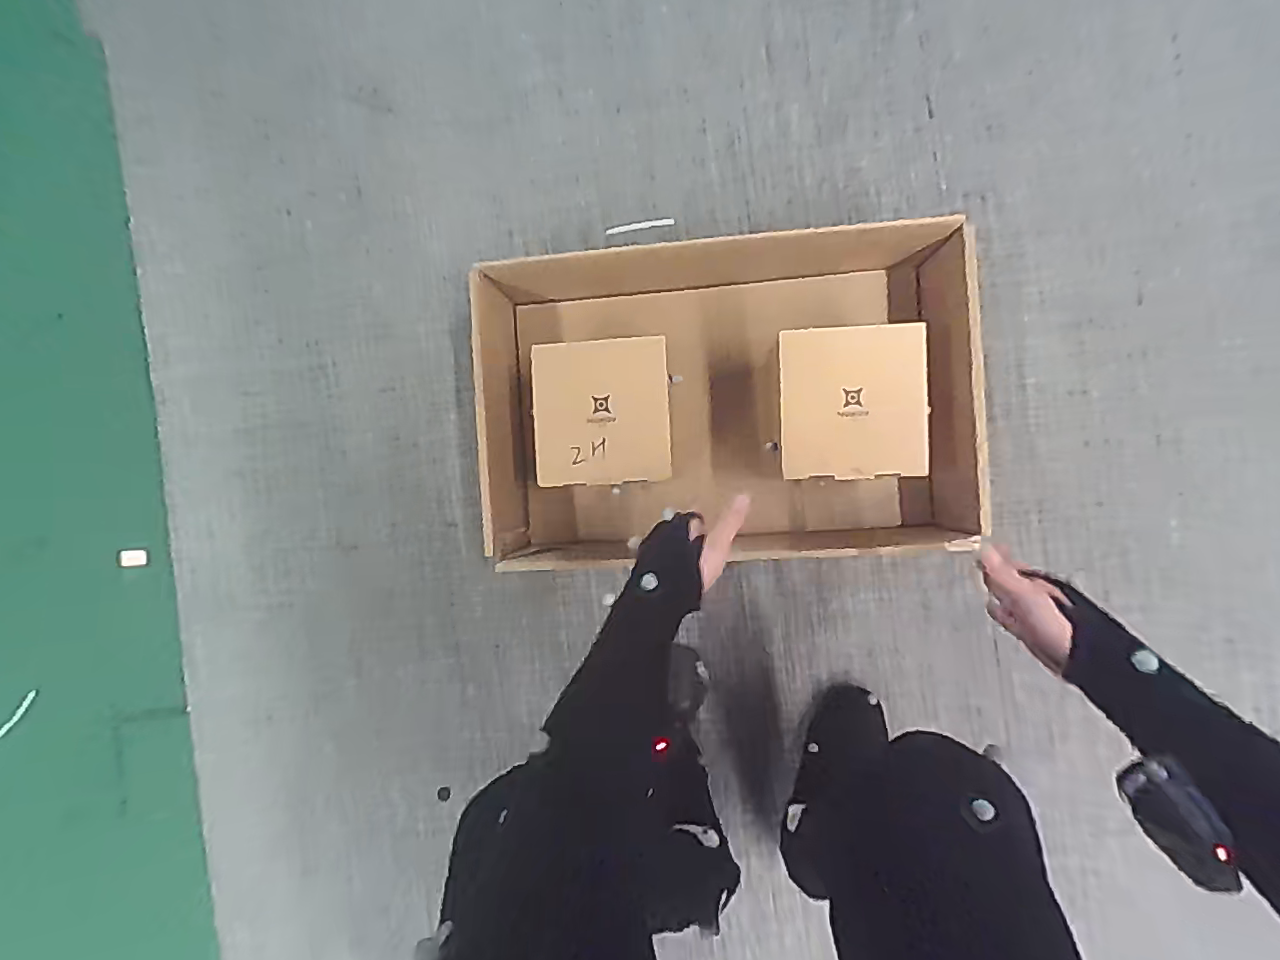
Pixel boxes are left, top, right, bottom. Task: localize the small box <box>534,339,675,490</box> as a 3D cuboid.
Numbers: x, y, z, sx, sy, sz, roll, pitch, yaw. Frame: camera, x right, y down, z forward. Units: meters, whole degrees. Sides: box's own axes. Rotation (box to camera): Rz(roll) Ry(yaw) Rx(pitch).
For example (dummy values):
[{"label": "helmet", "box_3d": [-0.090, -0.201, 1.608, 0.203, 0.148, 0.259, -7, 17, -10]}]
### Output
[{"label": "small box", "box_3d": [-0.039, -0.077, 0.729, 0.168, 0.176, 0.179, -3, 89, 6]}]
